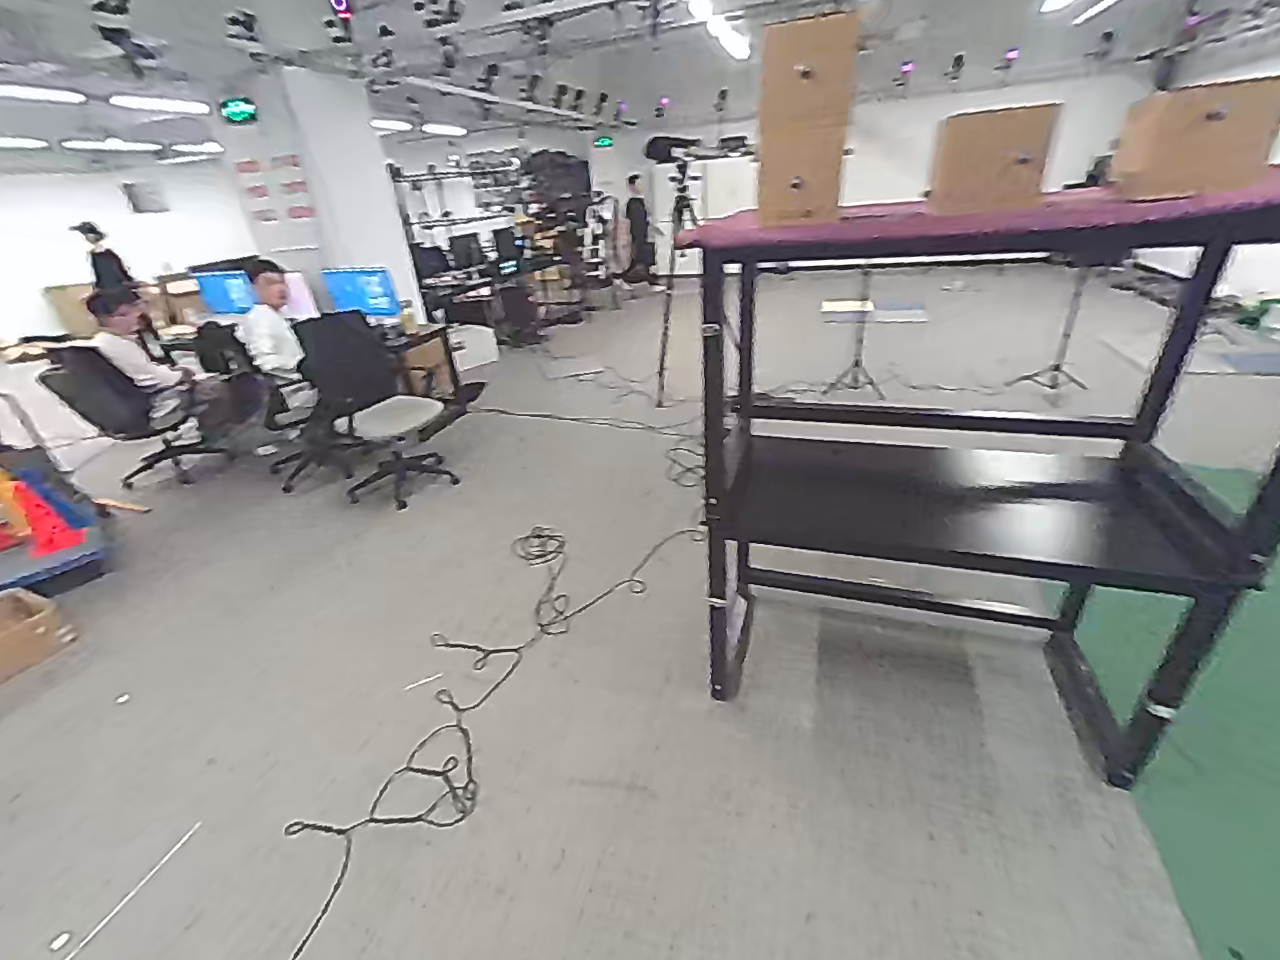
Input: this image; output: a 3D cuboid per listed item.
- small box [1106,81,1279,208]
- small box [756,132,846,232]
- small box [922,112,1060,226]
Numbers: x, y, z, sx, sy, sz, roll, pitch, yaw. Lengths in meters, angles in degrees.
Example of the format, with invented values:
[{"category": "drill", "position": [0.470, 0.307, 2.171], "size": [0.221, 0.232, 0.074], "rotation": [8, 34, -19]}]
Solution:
[{"category": "small box", "position": [0.981, -0.588, 0.971], "size": [0.179, 0.176, 0.168], "rotation": [6, 27, 20]}, {"category": "small box", "position": [0.335, -0.617, 1.131], "size": [0.168, 0.176, 0.179], "rotation": [5, 30, 16]}, {"category": "small box", "position": [0.668, -0.600, 1.052], "size": [0.179, 0.176, 0.168], "rotation": [3, 28, 17]}]
